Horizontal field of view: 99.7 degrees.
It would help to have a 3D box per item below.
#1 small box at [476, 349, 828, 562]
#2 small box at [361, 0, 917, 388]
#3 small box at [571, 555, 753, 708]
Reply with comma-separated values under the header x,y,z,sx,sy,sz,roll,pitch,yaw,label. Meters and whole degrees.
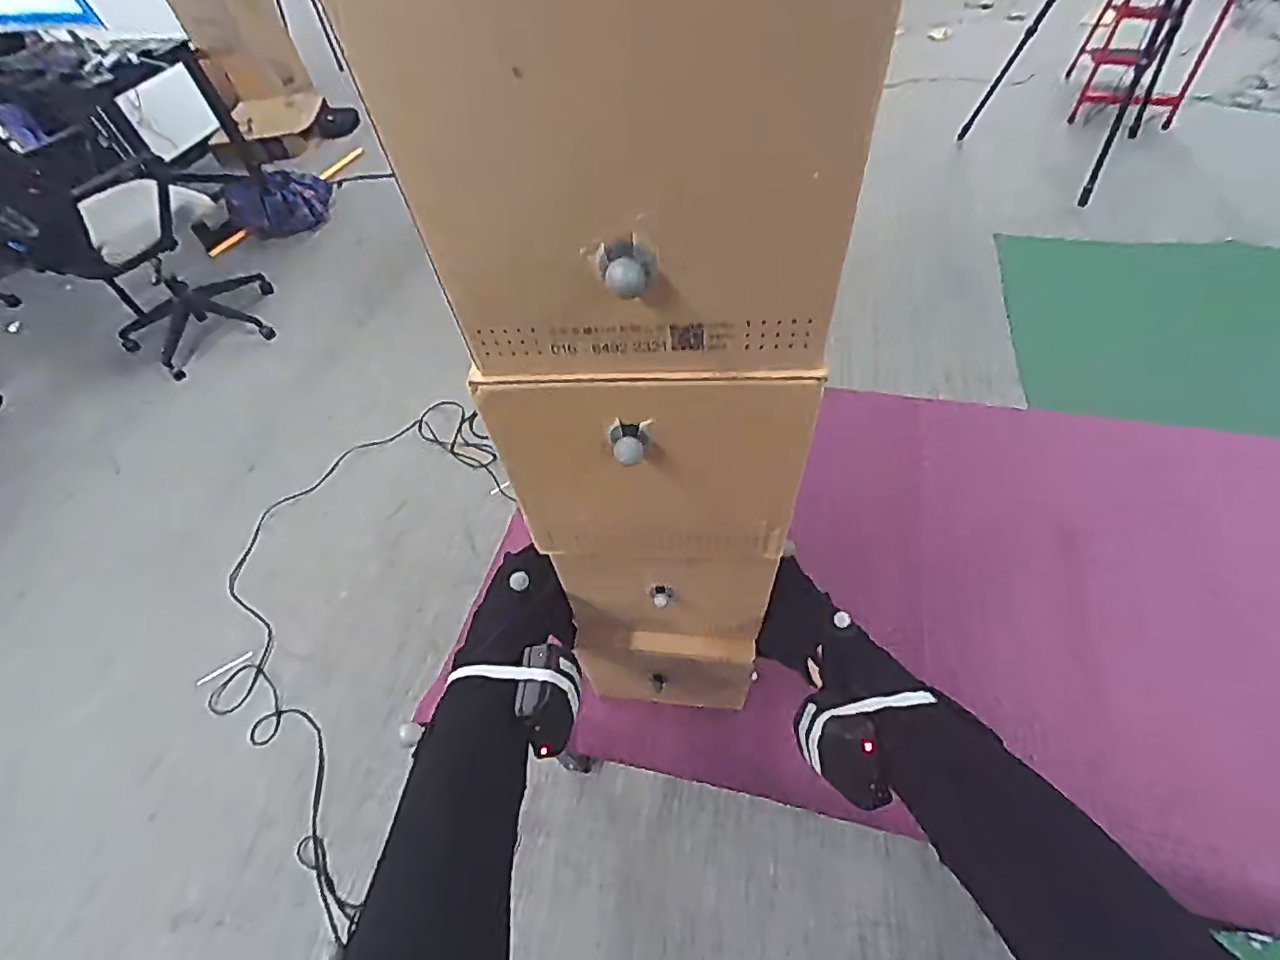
x,y,z,sx,sy,sz,roll,pitch,yaw,label
0.016,-0.055,0.374,0.179,0.176,0.168,1,53,7,small box
0.006,-0.164,0.250,0.168,0.176,0.179,1,53,7,small box
0.033,0.153,0.625,0.179,0.176,0.168,4,53,7,small box
